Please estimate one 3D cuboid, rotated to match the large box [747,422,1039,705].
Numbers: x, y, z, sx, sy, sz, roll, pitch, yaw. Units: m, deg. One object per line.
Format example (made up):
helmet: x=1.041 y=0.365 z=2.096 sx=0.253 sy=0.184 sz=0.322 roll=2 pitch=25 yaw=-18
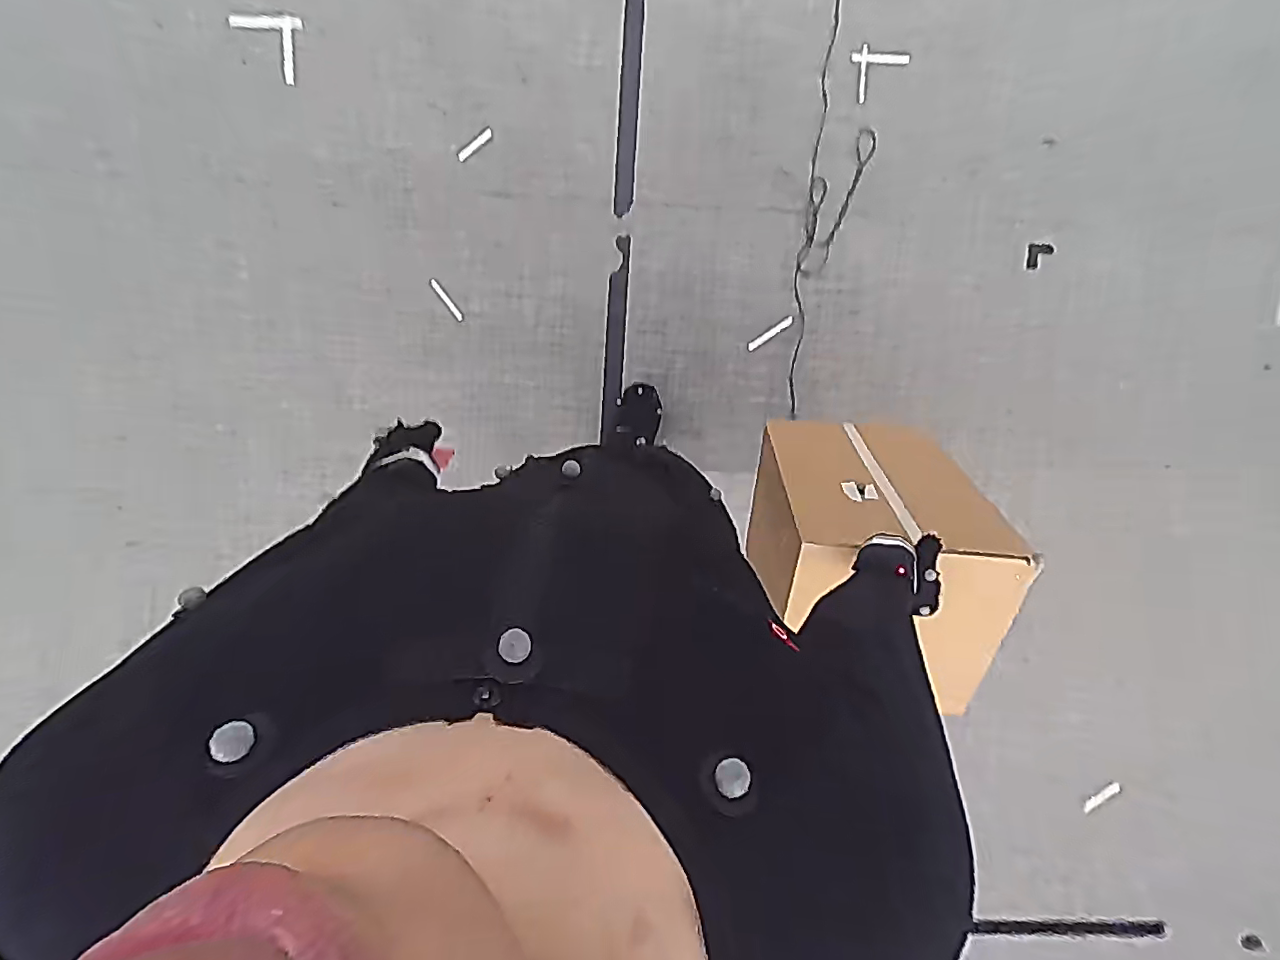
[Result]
large box: x=0.386 y=0.126 z=0.969 sx=0.320 sy=0.408 sz=0.320 roll=3 pitch=121 yaw=3
